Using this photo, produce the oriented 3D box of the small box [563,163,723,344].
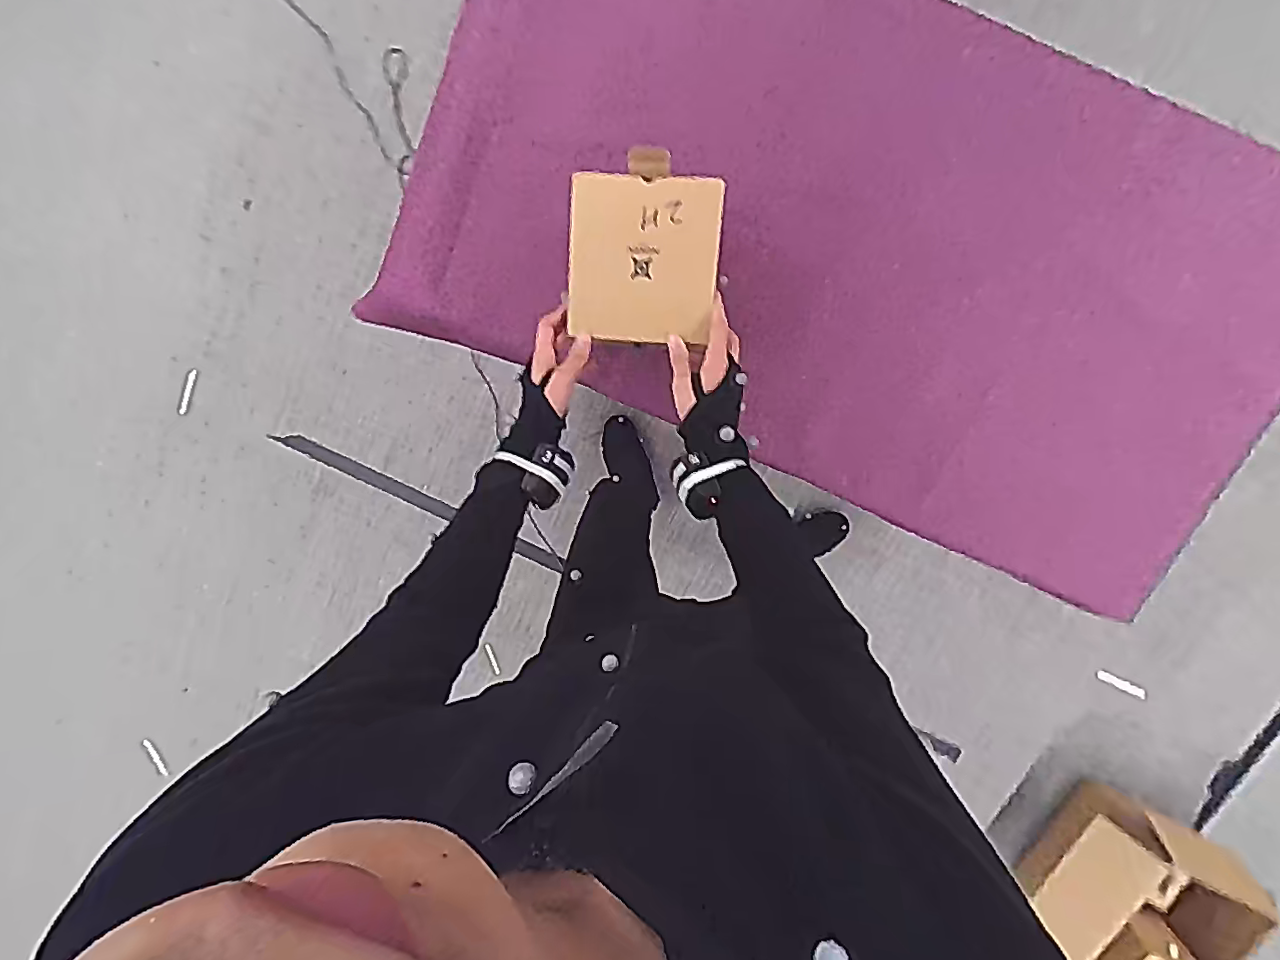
[{"bbox_3d":[0.006,-0.265,0.672,0.168,0.176,0.179,6,102,2],"label":"small box"}]
